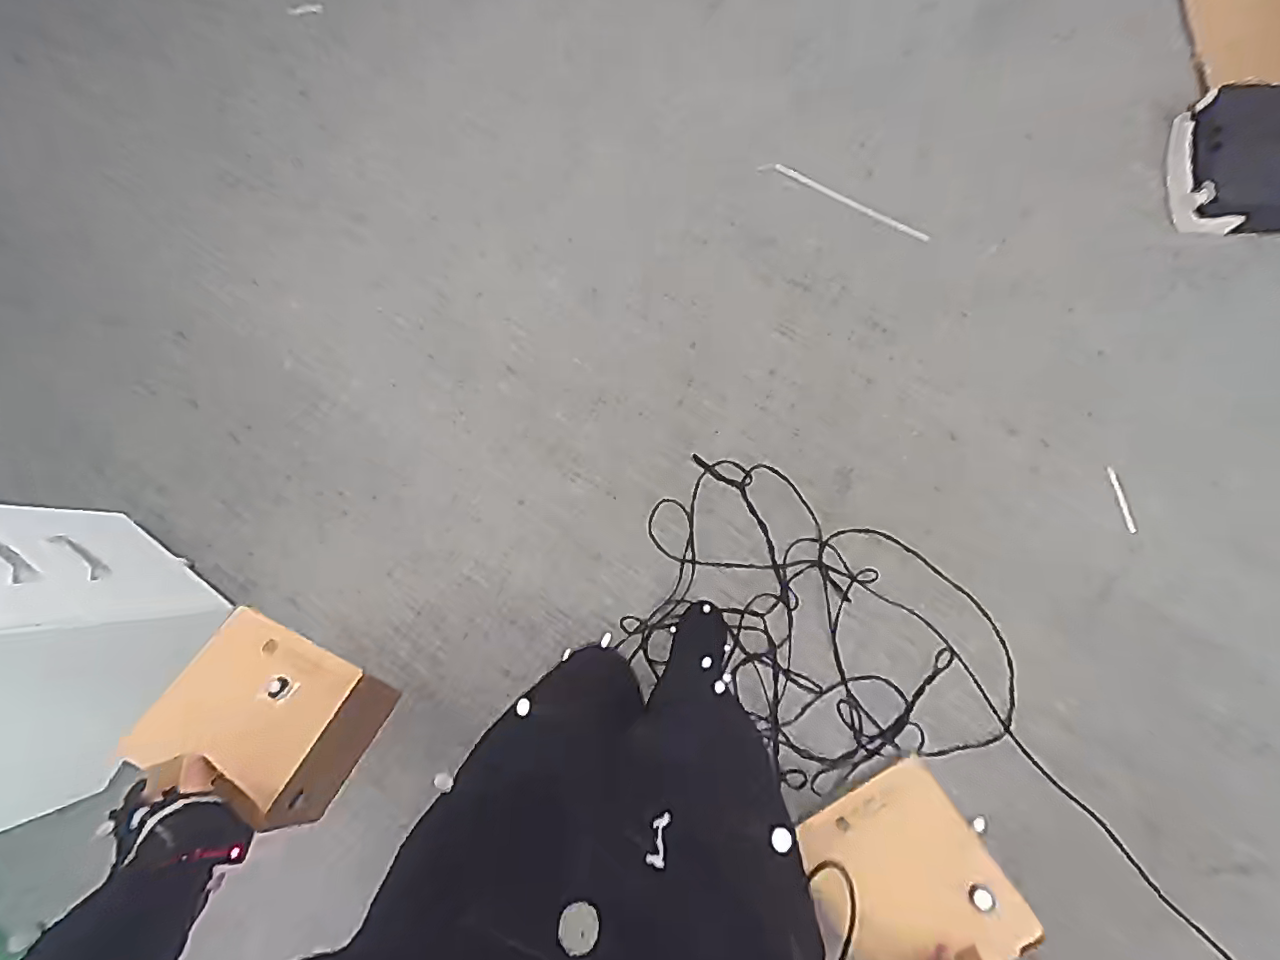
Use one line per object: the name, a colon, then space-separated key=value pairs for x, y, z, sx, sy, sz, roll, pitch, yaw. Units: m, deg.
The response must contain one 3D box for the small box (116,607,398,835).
small box: x=-0.413 y=0.273 z=0.627 sx=0.168 sy=0.179 sz=0.176 roll=26 pitch=61 yaw=5
